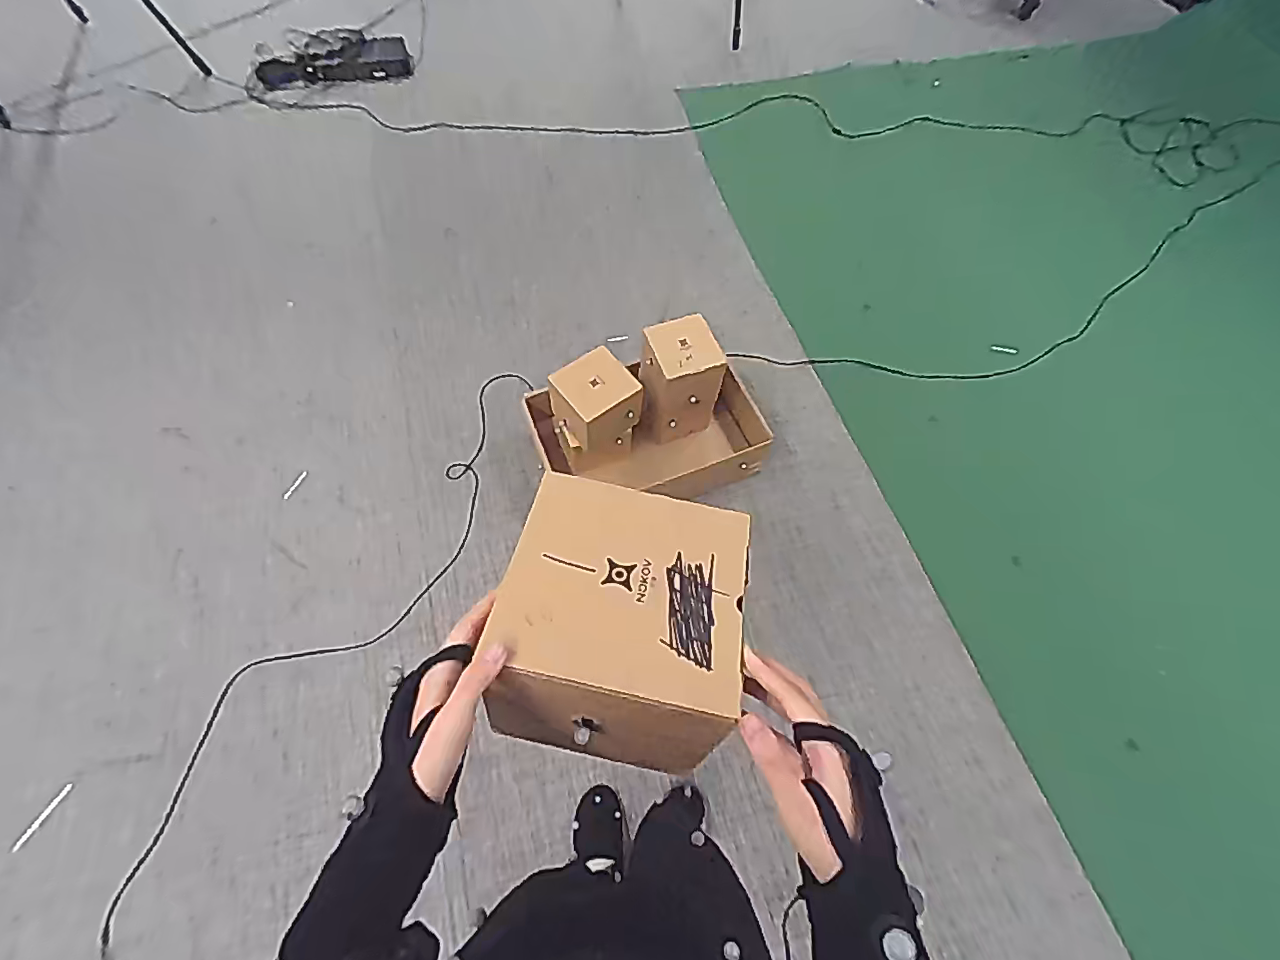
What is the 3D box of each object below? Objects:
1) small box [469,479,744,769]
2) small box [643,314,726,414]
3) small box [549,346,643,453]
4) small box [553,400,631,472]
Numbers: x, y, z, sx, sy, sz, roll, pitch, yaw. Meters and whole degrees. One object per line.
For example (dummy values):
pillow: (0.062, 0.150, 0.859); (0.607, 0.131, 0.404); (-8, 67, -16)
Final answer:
small box: (-0.023, 0.128, 0.459); (0.179, 0.176, 0.168); (12, 49, 1)
small box: (0.110, -0.307, 1.445); (0.168, 0.176, 0.179); (-18, 67, -10)
small box: (-0.113, -0.203, 1.391); (0.179, 0.176, 0.168); (-35, 71, -18)
small box: (-0.134, -0.145, 1.542); (0.179, 0.176, 0.168); (-19, 67, -12)
